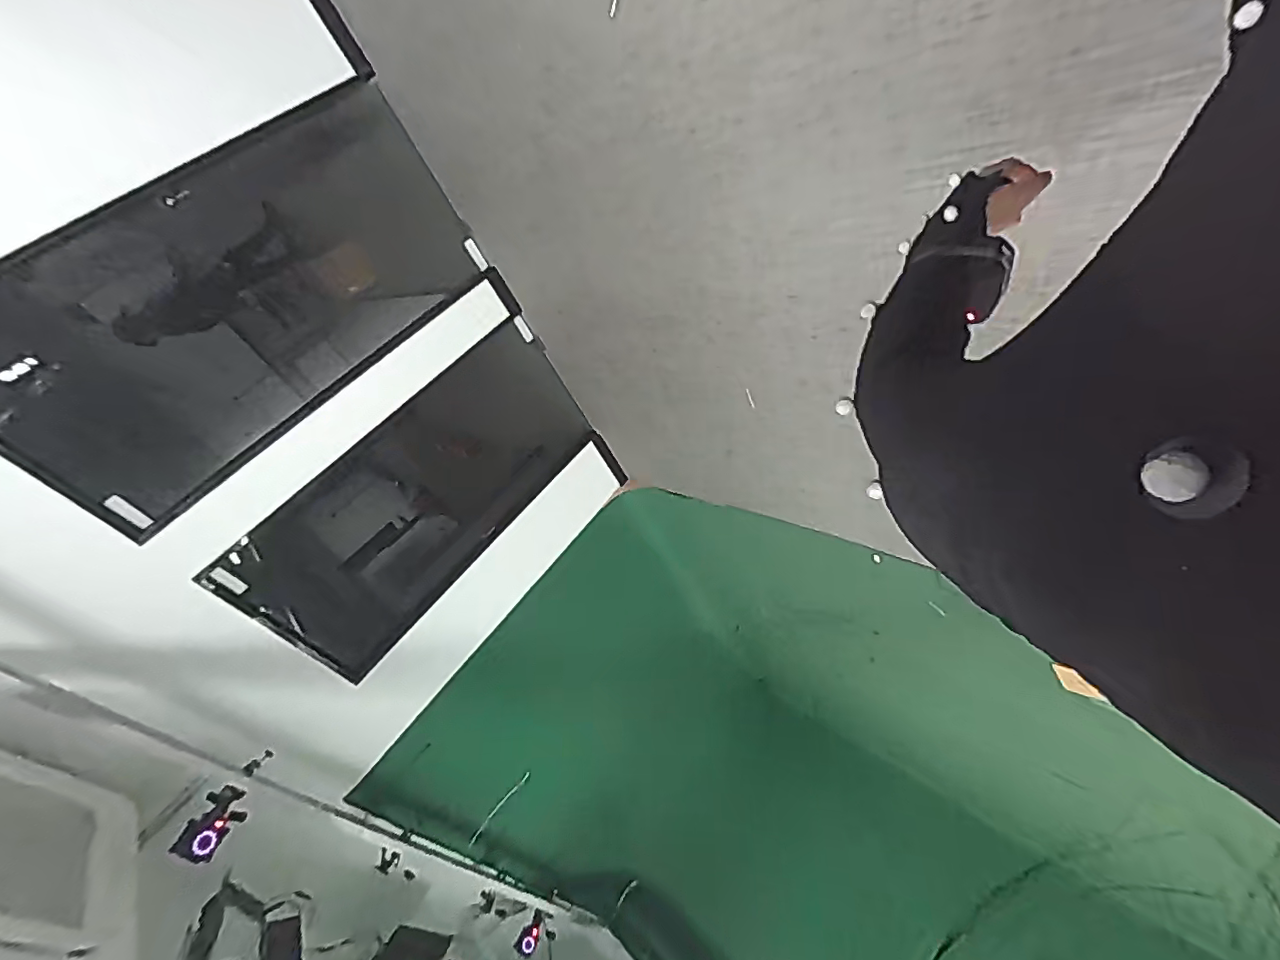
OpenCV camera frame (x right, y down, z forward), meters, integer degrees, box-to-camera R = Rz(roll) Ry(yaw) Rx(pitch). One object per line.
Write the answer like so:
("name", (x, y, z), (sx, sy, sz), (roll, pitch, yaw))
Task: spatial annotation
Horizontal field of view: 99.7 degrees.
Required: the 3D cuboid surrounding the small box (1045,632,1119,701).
("small box", (1.713, 0.714, 2.090), (0.168, 0.176, 0.179), (52, 156, -22))
